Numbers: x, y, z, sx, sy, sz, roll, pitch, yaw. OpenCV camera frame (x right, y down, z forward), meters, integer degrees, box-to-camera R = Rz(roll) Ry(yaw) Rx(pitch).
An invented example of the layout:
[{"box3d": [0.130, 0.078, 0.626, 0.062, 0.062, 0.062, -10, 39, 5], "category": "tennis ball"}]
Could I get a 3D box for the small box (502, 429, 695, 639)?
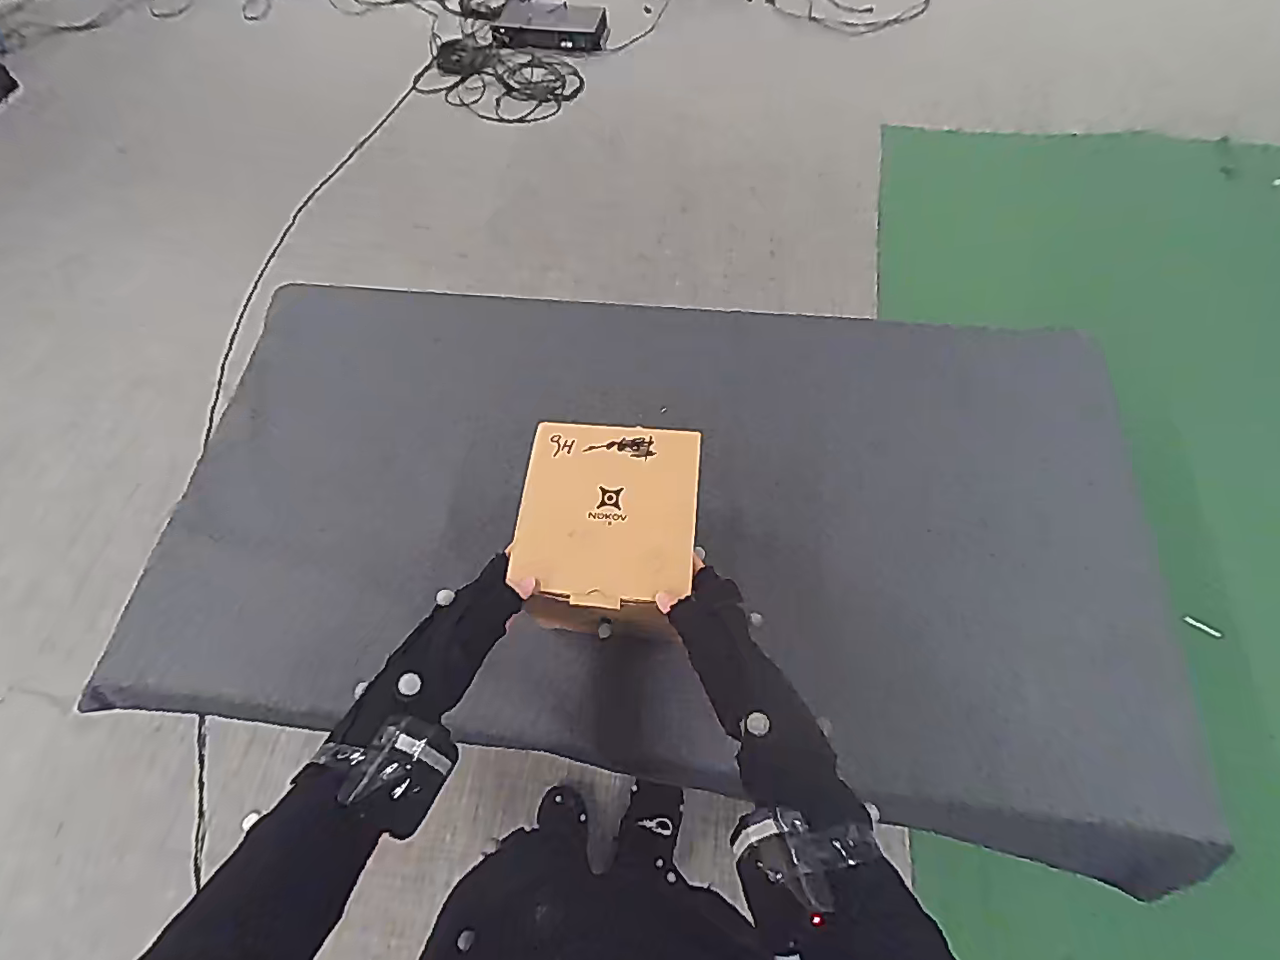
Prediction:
[{"box3d": [-0.029, 0.066, 0.577, 0.168, 0.176, 0.179, 3, 64, 6], "category": "small box"}]
